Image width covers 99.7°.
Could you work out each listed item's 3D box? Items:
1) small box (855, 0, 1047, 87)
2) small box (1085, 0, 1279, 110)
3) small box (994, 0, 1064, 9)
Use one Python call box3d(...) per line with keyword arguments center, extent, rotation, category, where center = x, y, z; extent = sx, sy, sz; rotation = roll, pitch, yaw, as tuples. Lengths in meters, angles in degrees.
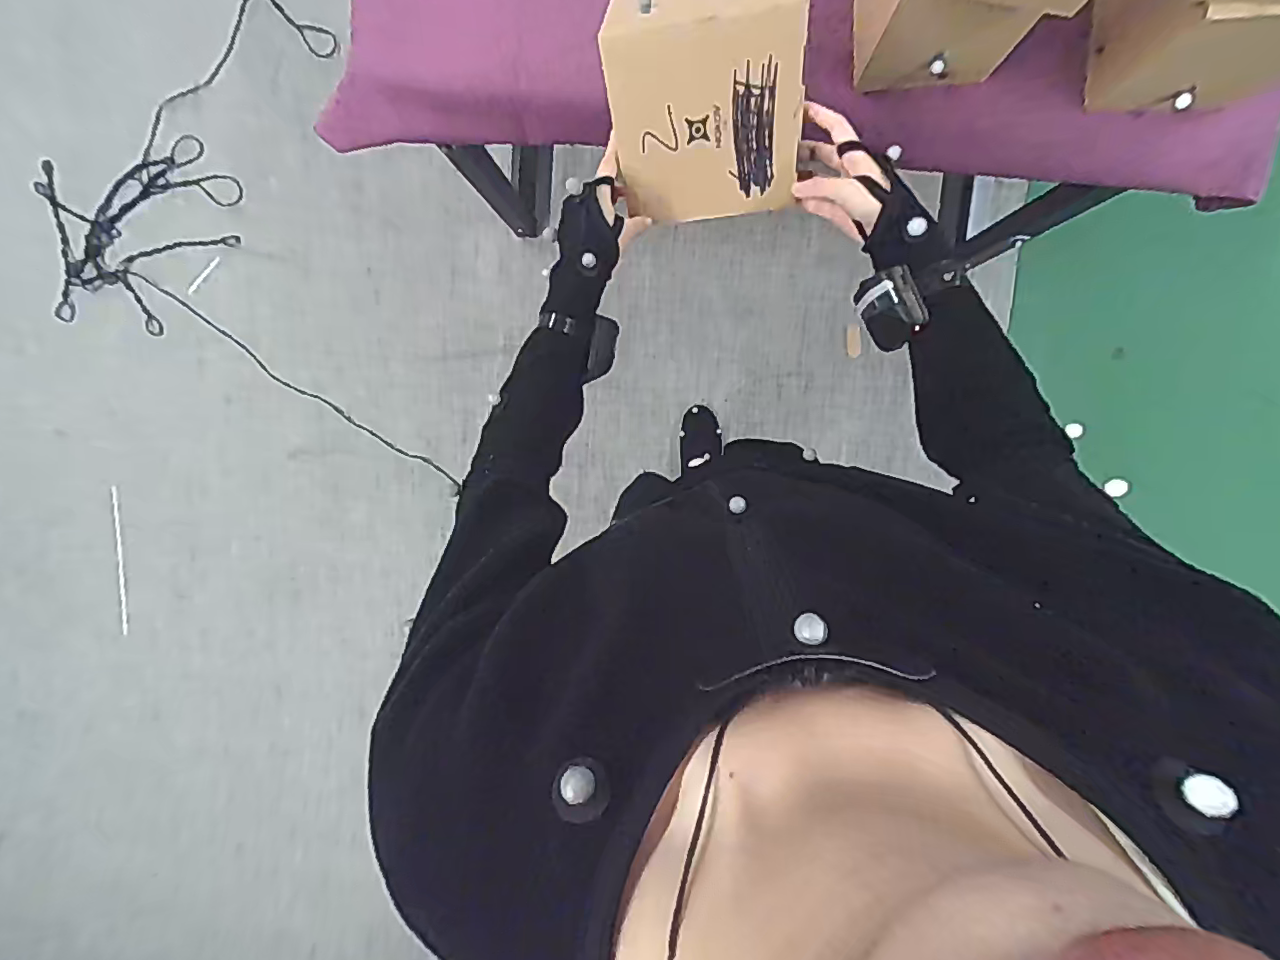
box3d(center=(0.350, -0.585, 0.605), extent=(0.168, 0.176, 0.179), rotation=(-1, 97, 5), category="small box")
box3d(center=(0.644, -0.534, 0.586), extent=(0.179, 0.176, 0.168), rotation=(2, 96, 5), category="small box")
box3d(center=(0.352, -0.542, 0.443), extent=(0.179, 0.176, 0.168), rotation=(14, 96, 4), category="small box")
